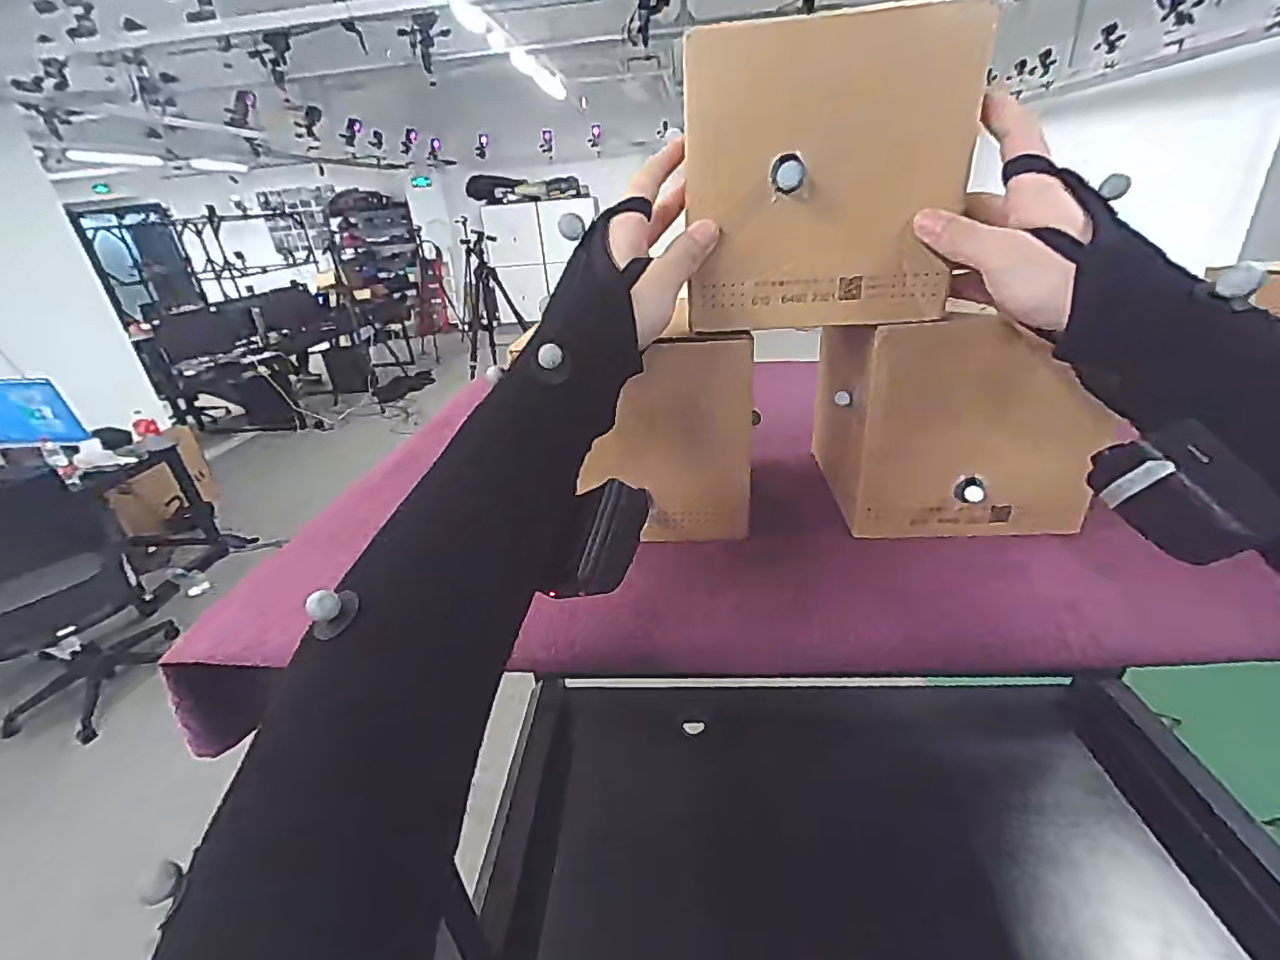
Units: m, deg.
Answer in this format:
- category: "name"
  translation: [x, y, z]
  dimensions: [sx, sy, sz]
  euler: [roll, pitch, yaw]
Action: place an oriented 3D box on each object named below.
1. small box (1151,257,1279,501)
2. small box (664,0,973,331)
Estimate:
- category: "small box"
  translation: [0.567, -0.079, 0.417]
  dimensions: [0.168, 0.176, 0.179]
  euler: [-3, 25, 4]
- category: "small box"
  translation: [0.112, -0.209, 0.399]
  dimensions: [0.168, 0.176, 0.179]
  euler: [-2, 26, 8]
